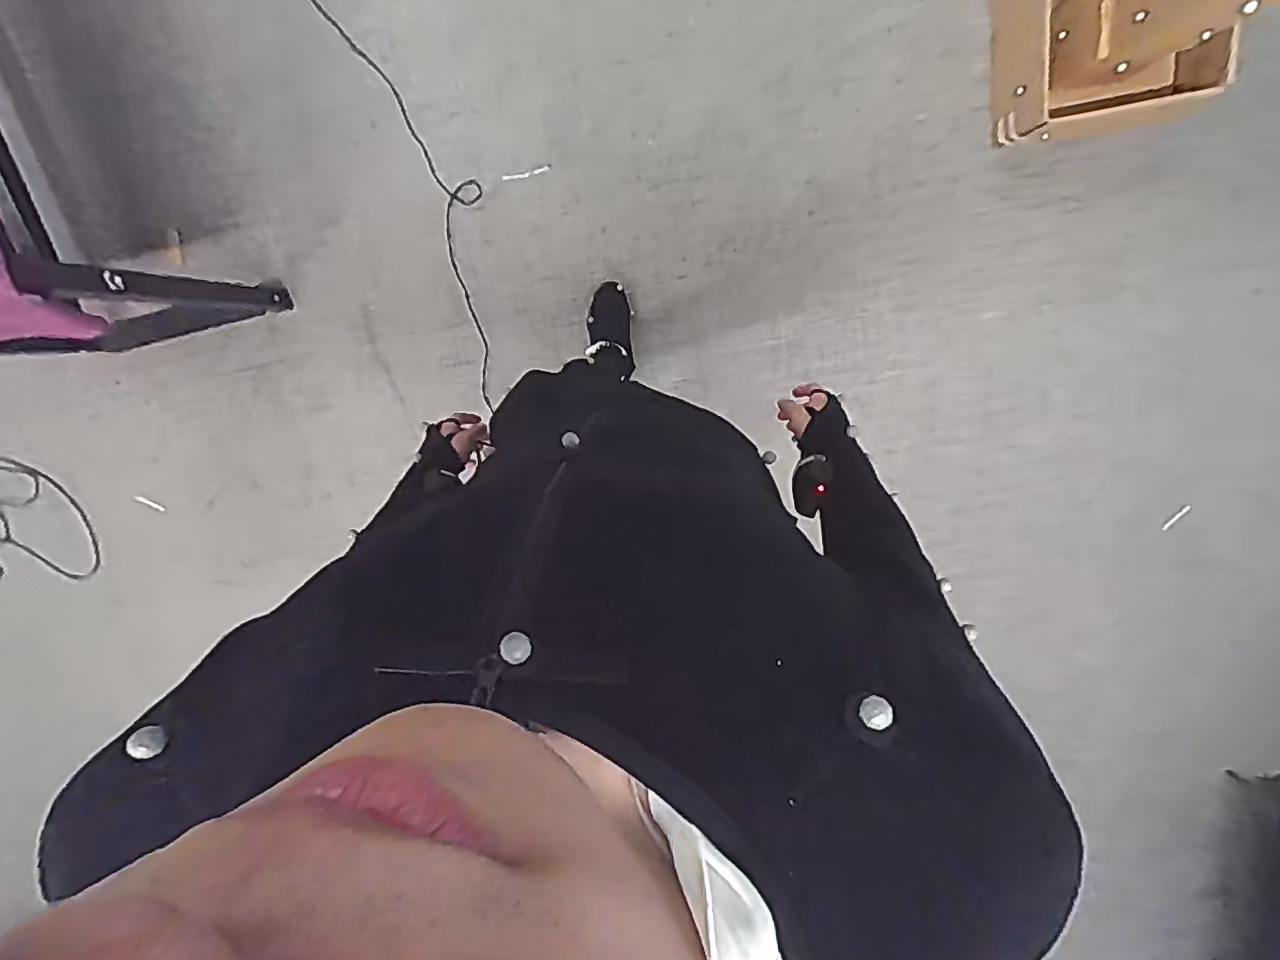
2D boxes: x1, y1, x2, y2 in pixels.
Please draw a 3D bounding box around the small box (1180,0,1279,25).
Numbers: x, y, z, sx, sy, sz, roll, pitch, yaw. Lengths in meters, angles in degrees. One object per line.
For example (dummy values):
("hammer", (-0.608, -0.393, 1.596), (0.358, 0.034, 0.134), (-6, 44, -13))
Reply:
("small box", (1.059, -0.911, 0.896), (0.168, 0.176, 0.179), (-8, 105, 4))
